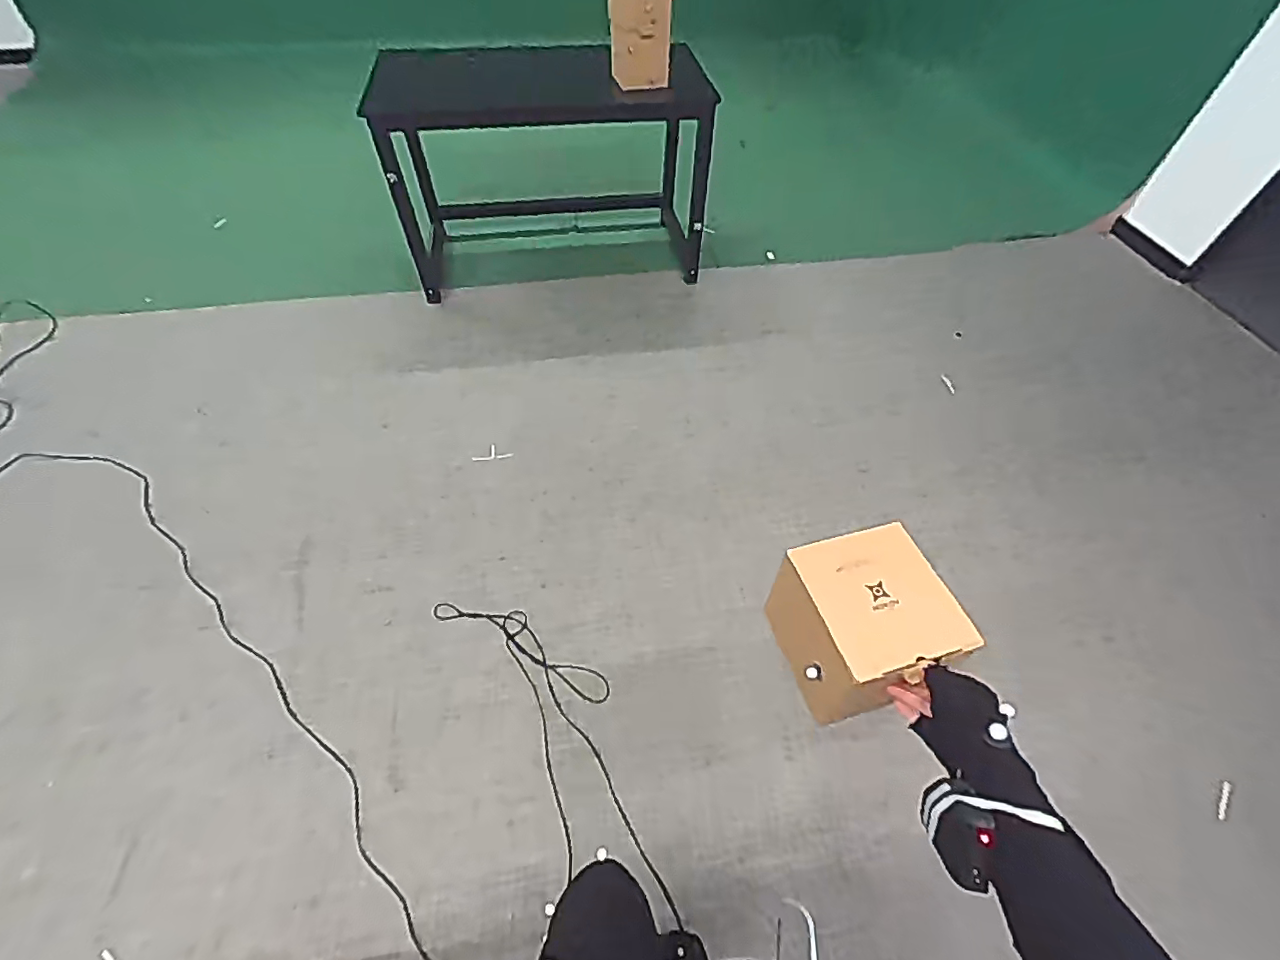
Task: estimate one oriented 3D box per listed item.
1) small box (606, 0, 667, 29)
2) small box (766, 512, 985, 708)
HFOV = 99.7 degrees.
[{"bbox_3d":[-0.013,-1.583,1.742,0.168,0.176,0.179,-14,54,-10],"label":"small box"},{"bbox_3d":[0.281,0.173,0.692,0.168,0.176,0.179,-13,52,-10],"label":"small box"}]
